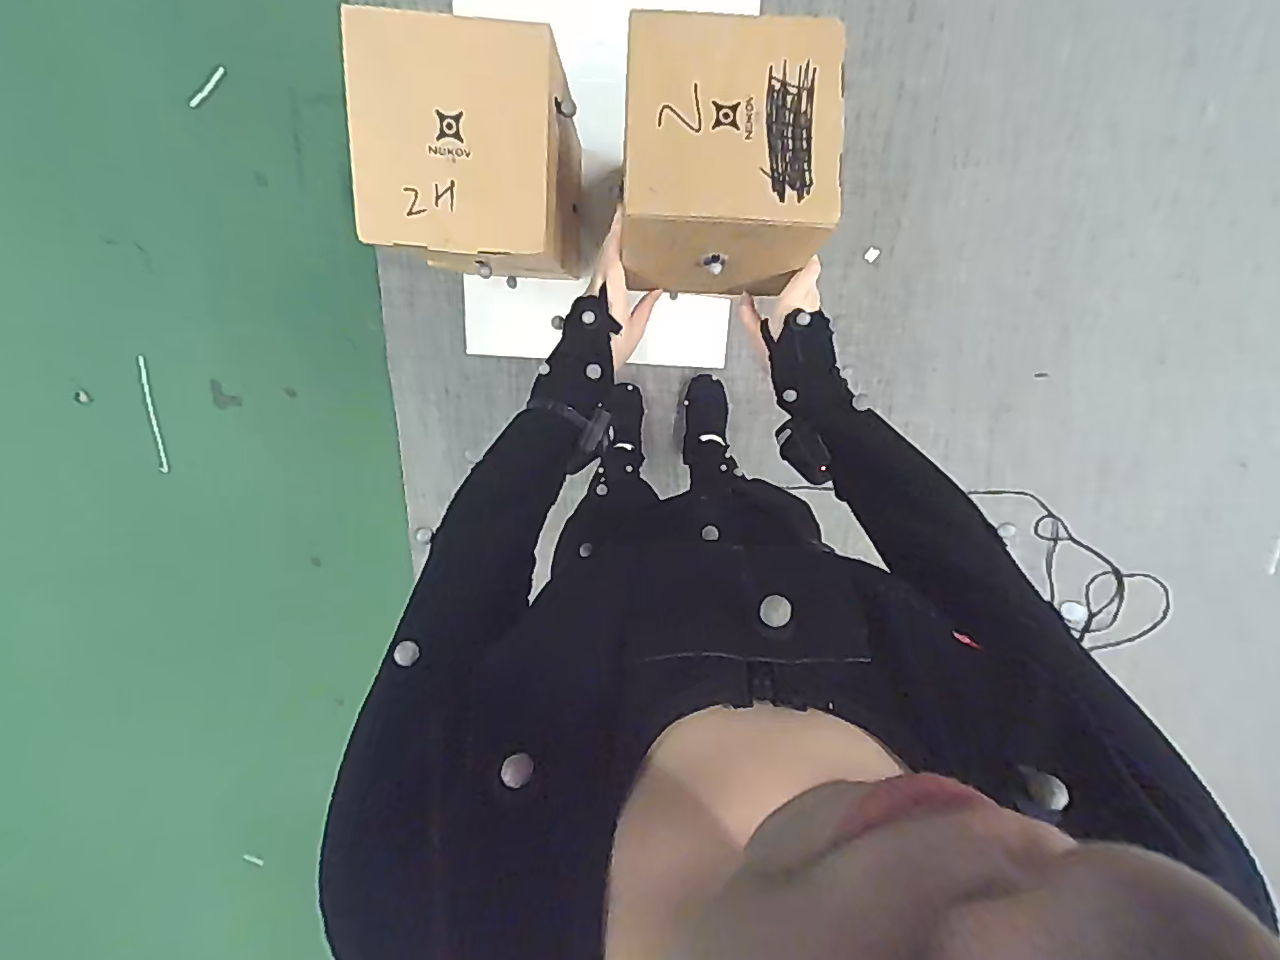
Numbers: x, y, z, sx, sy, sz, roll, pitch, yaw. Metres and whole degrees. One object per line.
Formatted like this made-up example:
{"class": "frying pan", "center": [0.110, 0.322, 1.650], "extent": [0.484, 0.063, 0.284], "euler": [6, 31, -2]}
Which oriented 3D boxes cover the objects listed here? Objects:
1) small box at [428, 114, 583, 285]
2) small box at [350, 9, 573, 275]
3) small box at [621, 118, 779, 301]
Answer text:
{"class": "small box", "center": [-0.164, -0.351, 0.690], "extent": [0.168, 0.176, 0.179], "euler": [3, 108, -1]}
{"class": "small box", "center": [-0.159, -0.307, 0.532], "extent": [0.168, 0.176, 0.179], "euler": [4, 107, -2]}
{"class": "small box", "center": [0.067, -0.331, 0.696], "extent": [0.168, 0.176, 0.179], "euler": [5, 107, 0]}
